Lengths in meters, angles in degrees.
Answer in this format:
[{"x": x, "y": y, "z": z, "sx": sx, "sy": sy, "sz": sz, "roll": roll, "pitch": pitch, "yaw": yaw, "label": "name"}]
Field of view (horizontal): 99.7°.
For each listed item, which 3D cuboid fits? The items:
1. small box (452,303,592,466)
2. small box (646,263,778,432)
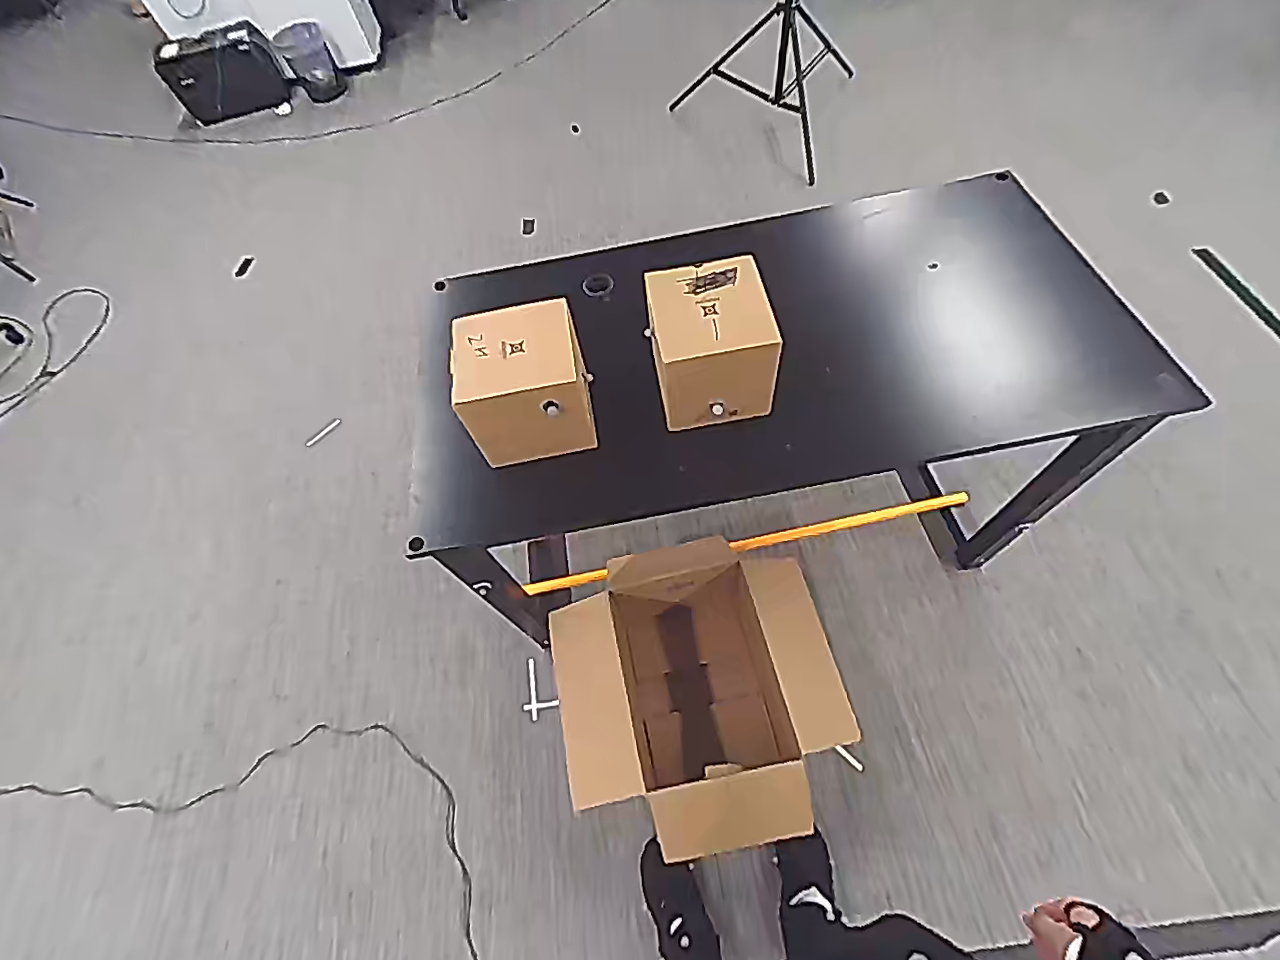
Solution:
[{"x": -0.175, "y": -0.142, "z": 0.839, "sx": 0.179, "sy": 0.176, "sz": 0.168, "roll": -11, "pitch": 59, "yaw": 0, "label": "small box"}, {"x": 0.105, "y": -0.201, "z": 0.841, "sx": 0.168, "sy": 0.176, "sz": 0.179, "roll": -10, "pitch": 61, "yaw": 2, "label": "small box"}]
